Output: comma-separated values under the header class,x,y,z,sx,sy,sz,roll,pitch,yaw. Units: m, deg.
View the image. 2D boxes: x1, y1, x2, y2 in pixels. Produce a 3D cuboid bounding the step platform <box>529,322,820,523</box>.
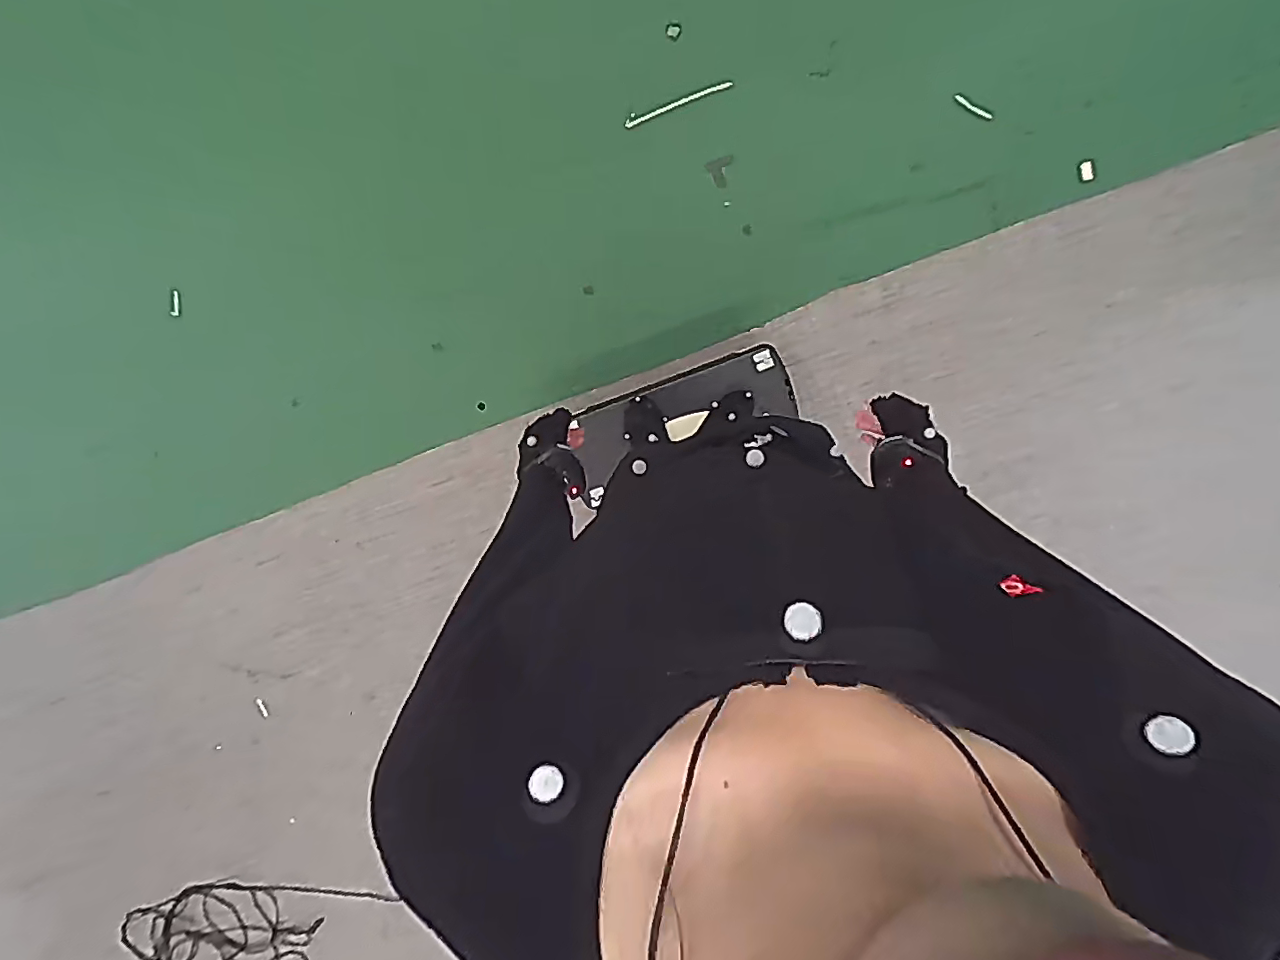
class,x,y,z,sx,sy,sz,roll,pitch,yaw
step platform,0.080,-0.146,1.365,0.684,0.204,0.286,-21,100,5
